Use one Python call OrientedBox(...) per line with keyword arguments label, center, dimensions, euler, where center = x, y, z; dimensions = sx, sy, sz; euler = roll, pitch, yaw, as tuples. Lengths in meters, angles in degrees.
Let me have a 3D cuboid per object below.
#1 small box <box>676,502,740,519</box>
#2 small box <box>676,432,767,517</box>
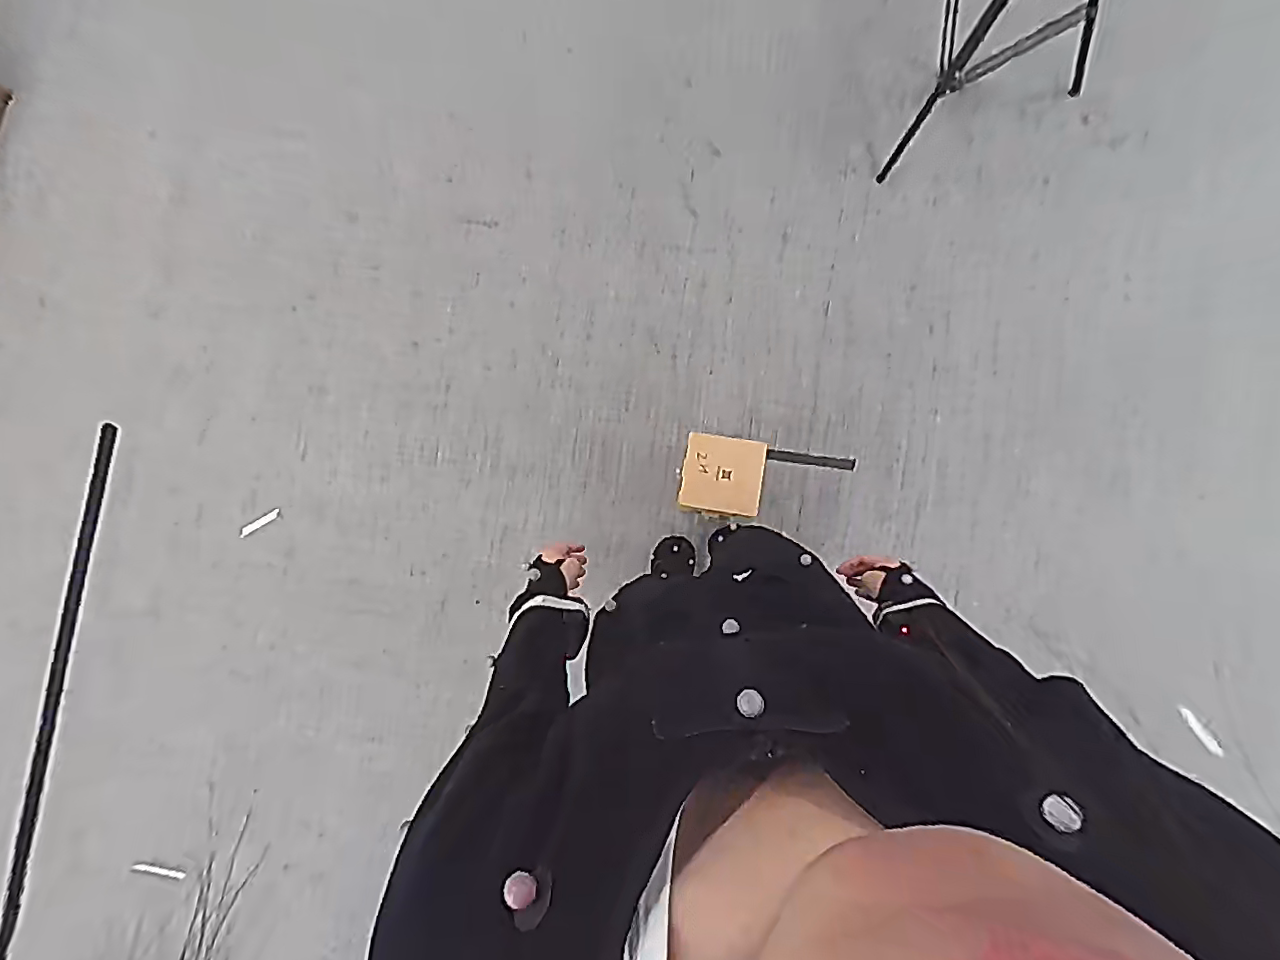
OrientedBox(label="small box", center=(0.191, 0.002, 1.427), dimensions=(0.168, 0.176, 0.179), euler=(10, 88, 4))
OrientedBox(label="small box", center=(0.184, -0.009, 1.261), dimensions=(0.179, 0.176, 0.168), euler=(9, 87, 4))
